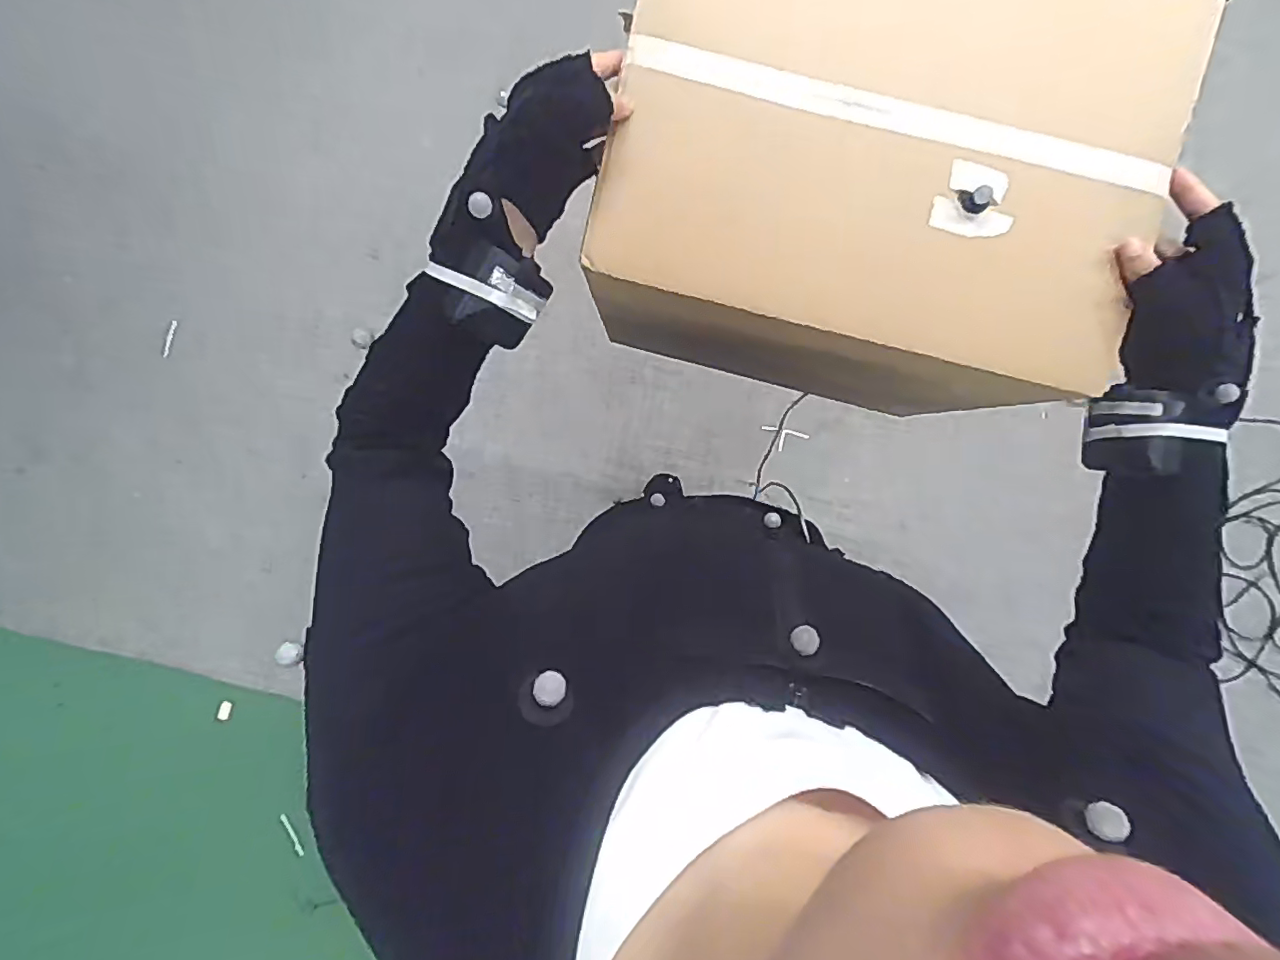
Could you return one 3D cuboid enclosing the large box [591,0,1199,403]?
[{"bbox_3d":[0.187,-0.280,0.552,0.408,0.320,0.320,14,95,0],"label":"large box"}]
